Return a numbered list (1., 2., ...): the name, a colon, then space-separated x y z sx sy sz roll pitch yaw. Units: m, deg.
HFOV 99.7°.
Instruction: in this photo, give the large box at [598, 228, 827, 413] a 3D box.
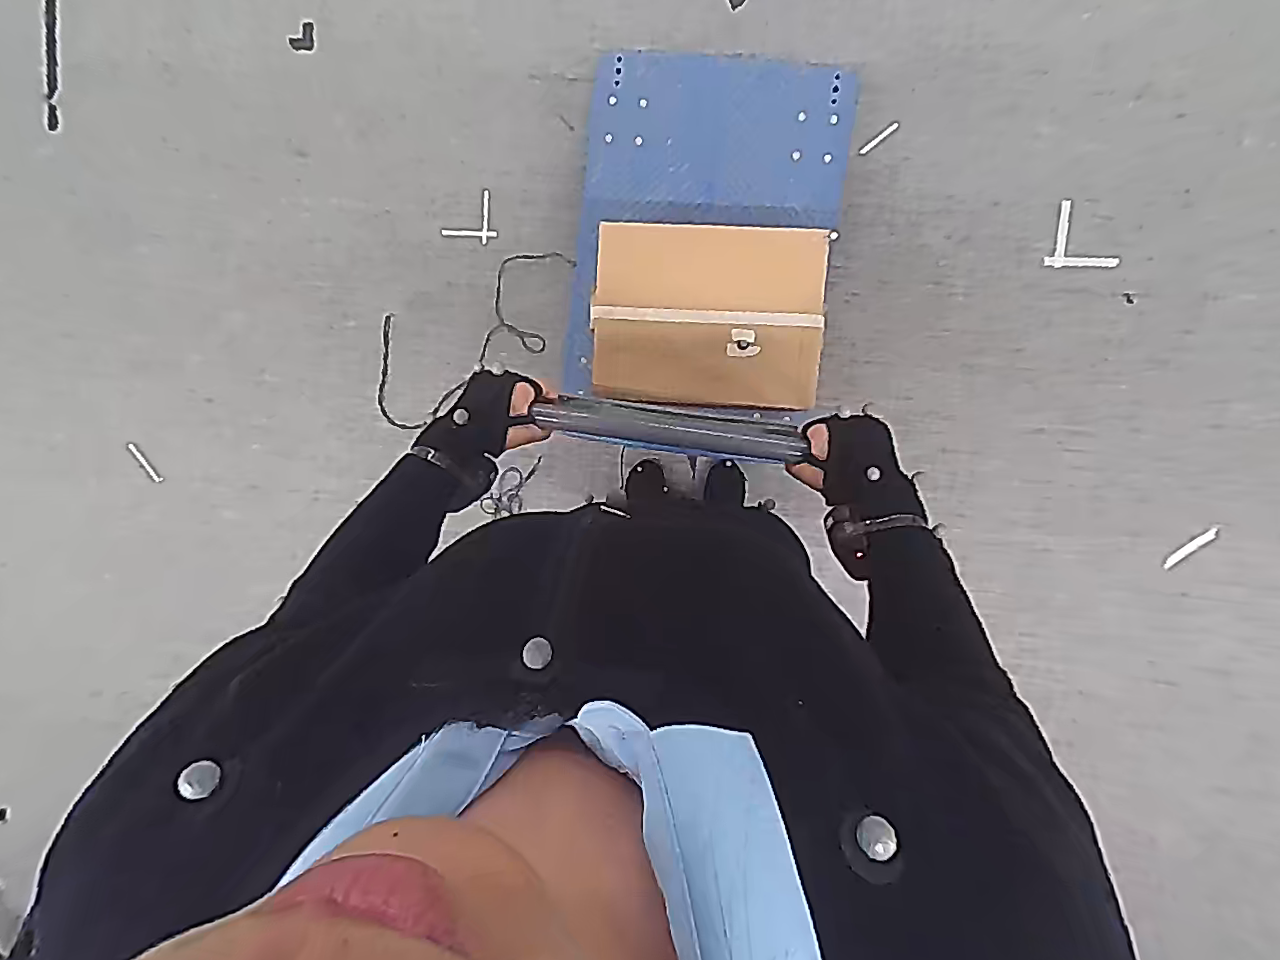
1. large box: 0.132 -0.304 1.120 0.408 0.320 0.320 3 97 3
